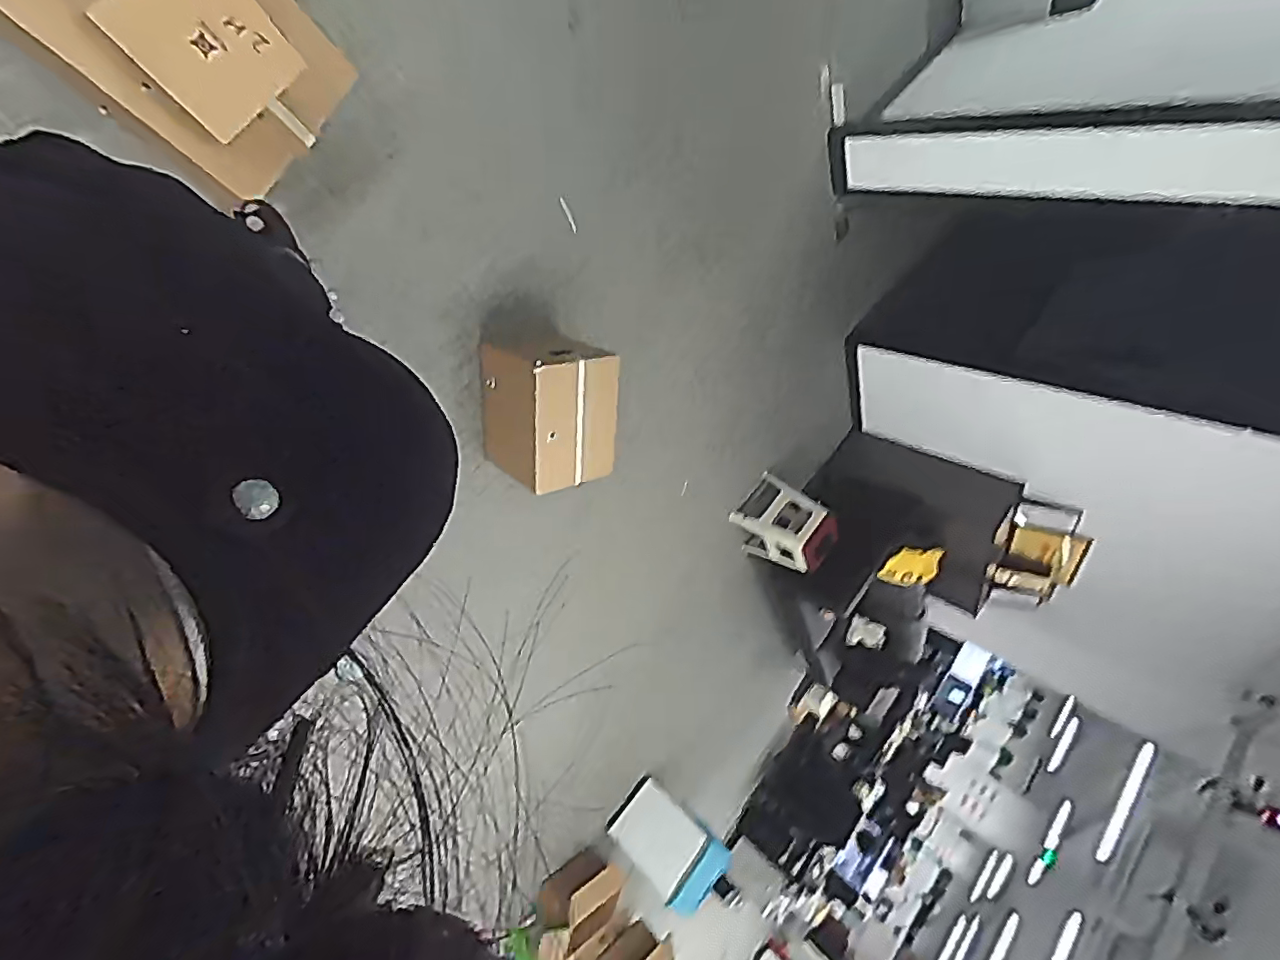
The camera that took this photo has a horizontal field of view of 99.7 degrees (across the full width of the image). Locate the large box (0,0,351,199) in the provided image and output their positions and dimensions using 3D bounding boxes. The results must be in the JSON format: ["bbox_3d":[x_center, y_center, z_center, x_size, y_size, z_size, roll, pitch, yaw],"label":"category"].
[{"bbox_3d":[-0.788,-0.738,0.886,0.320,0.320,0.408,-57,141,-7],"label":"large box"}]

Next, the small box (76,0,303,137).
[{"bbox_3d":[-0.621,-0.609,0.751,0.179,0.176,0.168,-53,142,-10],"label":"small box"}]
